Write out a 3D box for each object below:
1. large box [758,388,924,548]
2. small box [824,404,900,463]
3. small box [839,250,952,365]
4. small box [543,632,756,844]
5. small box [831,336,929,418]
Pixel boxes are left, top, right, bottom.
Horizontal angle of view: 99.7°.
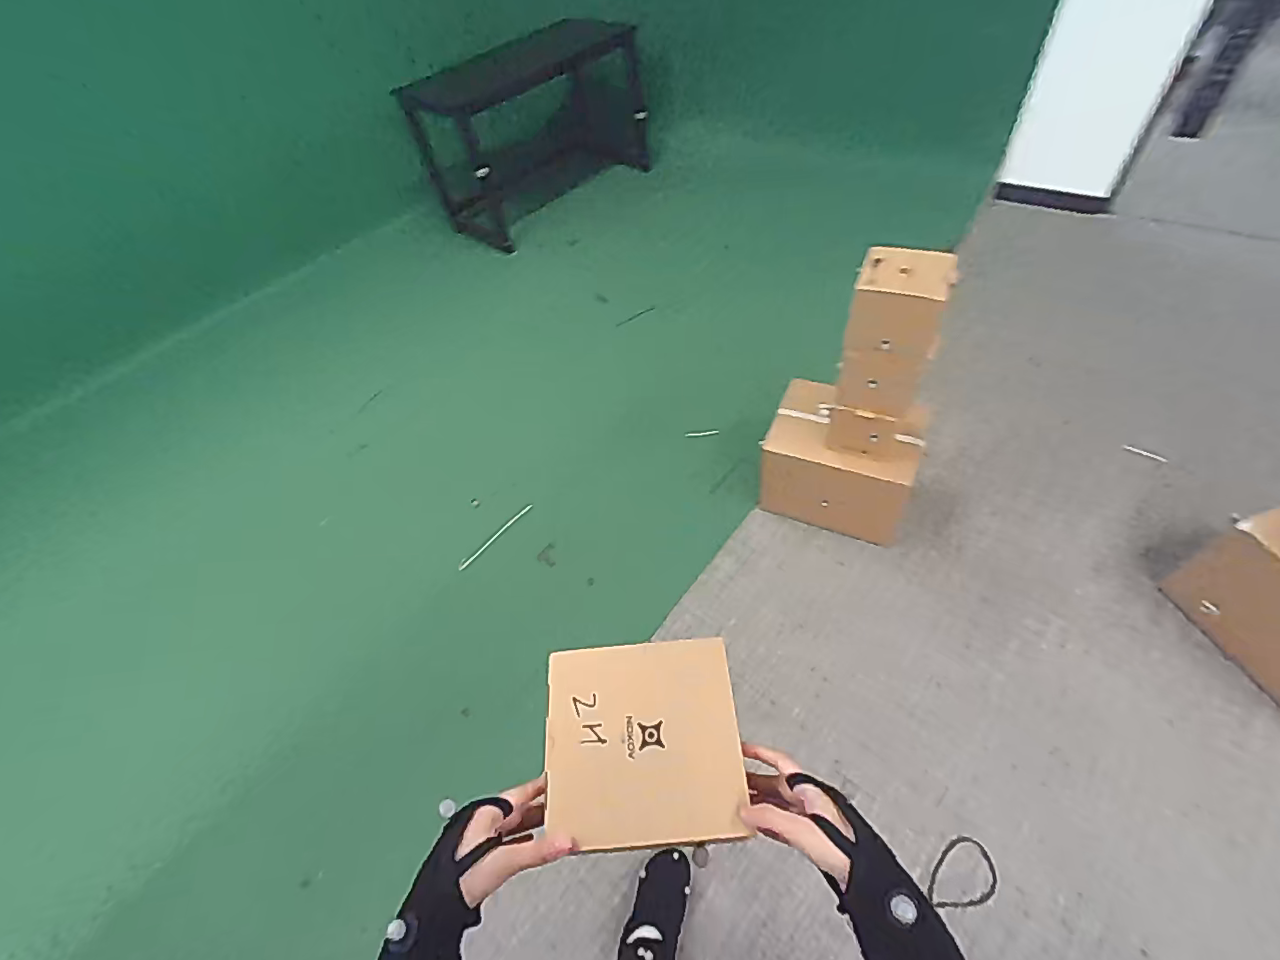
[{"bbox_3d":[0.602,-0.040,1.657,0.408,0.320,0.320,15,55,23],"label":"large box"},{"bbox_3d":[0.601,-0.171,1.447,0.168,0.176,0.179,17,56,22],"label":"small box"},{"bbox_3d":[0.559,-0.378,1.196,0.179,0.176,0.168,17,56,21],"label":"small box"},{"bbox_3d":[0.009,0.265,0.546,0.179,0.176,0.168,-5,54,2],"label":"small box"},{"bbox_3d":[0.582,-0.274,1.321,0.179,0.176,0.168,16,56,21],"label":"small box"}]
